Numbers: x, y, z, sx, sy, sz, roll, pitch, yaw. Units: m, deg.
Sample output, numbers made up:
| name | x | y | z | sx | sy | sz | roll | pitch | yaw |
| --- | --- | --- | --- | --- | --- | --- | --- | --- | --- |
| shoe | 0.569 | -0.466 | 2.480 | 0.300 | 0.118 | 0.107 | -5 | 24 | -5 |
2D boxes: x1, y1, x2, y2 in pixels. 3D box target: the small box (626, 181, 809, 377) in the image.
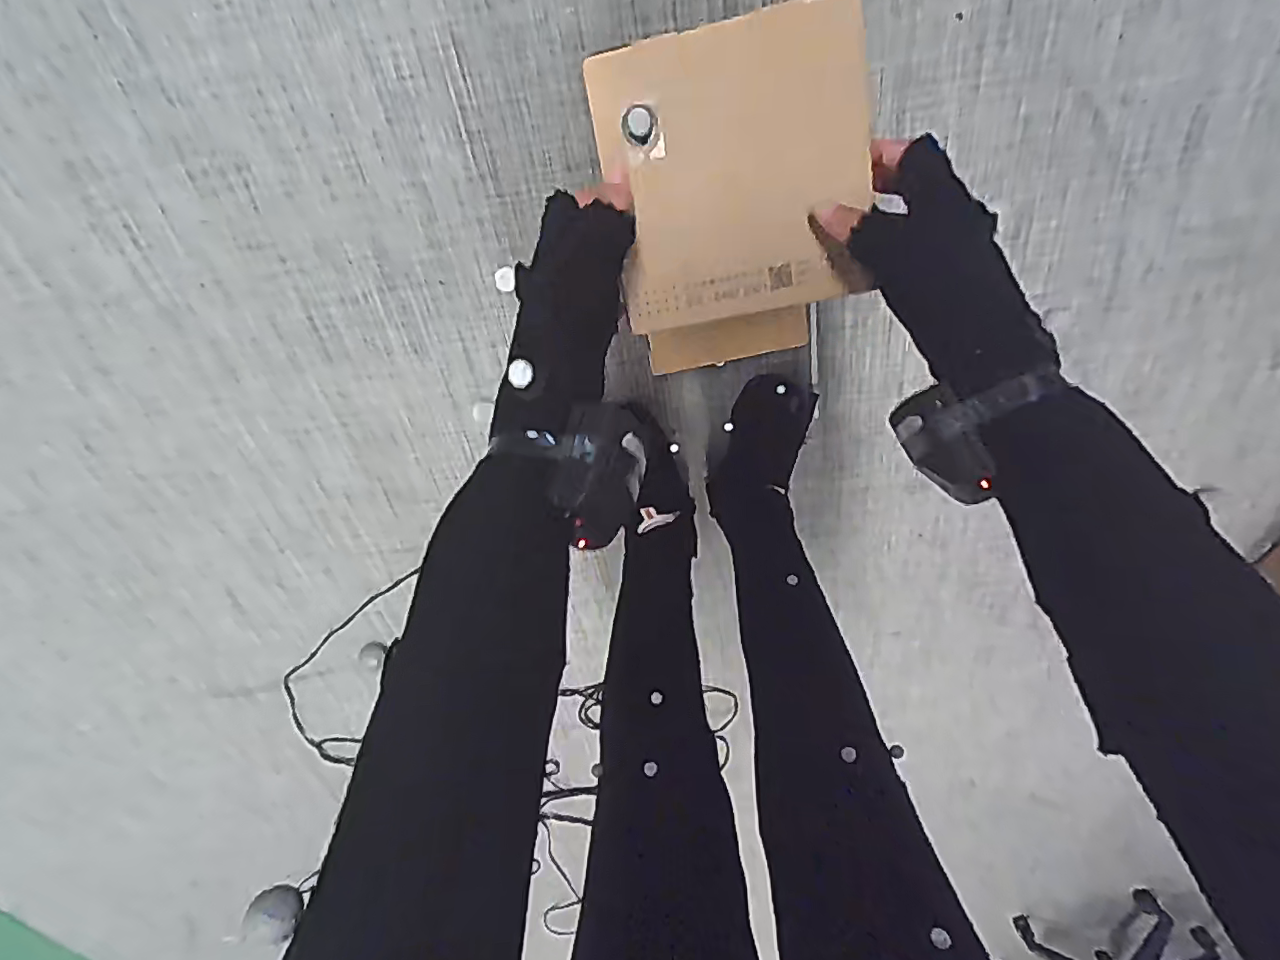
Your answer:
| name | x | y | z | sx | sy | sz | roll | pitch | yaw |
| --- | --- | --- | --- | --- | --- | --- | --- | --- | --- |
| small box | 0.086 | -0.241 | 0.636 | 0.179 | 0.176 | 0.168 | -10 | 120 | 8 |
